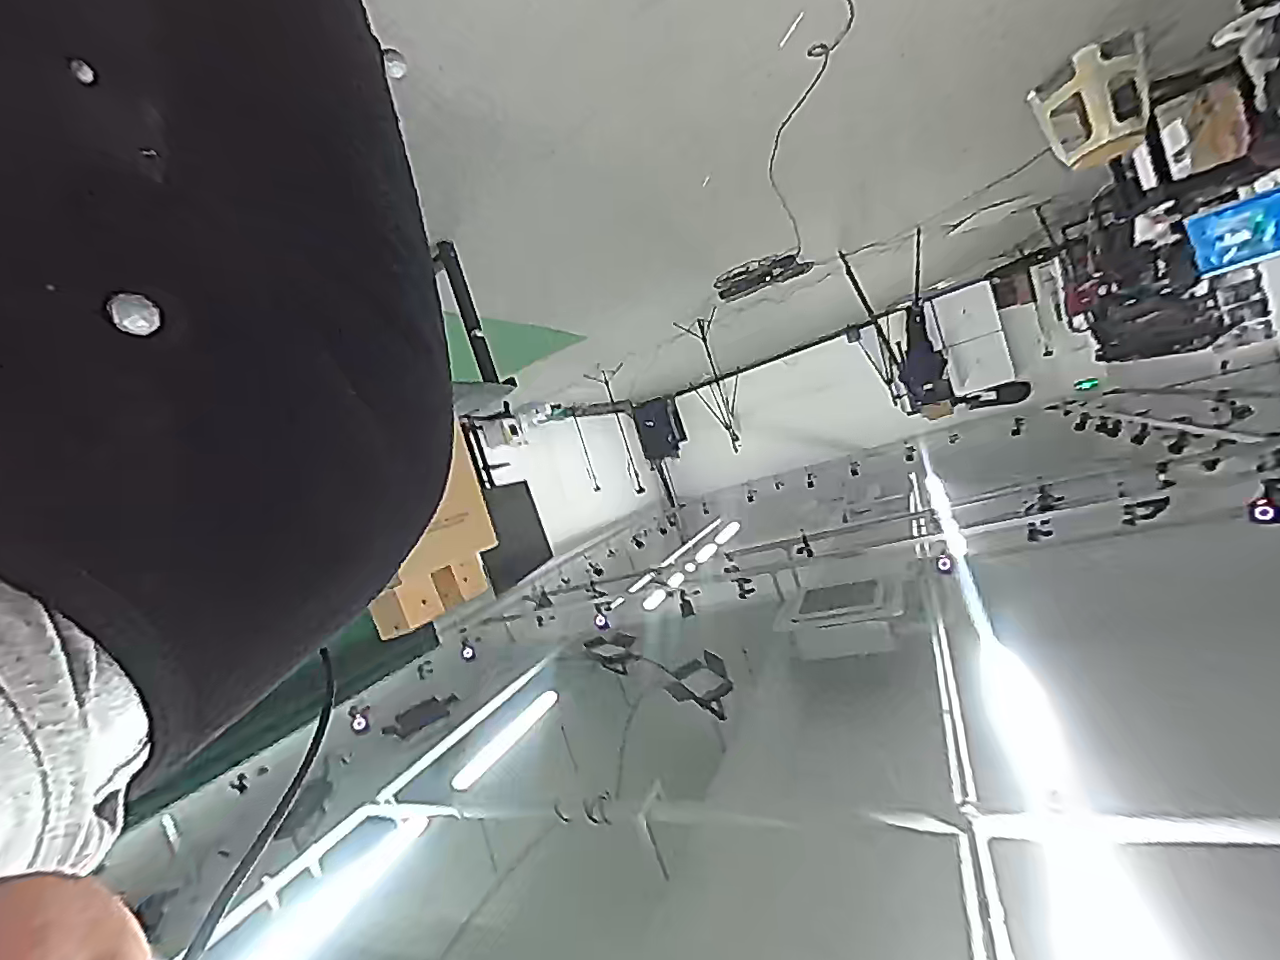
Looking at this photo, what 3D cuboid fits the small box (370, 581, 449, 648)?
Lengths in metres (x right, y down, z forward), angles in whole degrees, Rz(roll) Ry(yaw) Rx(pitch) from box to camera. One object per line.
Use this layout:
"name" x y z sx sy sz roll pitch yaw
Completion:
"small box" -0.860 0.495 2.018 0.168 0.176 0.179 -24 -179 25

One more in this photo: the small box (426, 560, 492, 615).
"small box" -0.760 0.448 2.252 0.179 0.176 0.168 -23 179 21
